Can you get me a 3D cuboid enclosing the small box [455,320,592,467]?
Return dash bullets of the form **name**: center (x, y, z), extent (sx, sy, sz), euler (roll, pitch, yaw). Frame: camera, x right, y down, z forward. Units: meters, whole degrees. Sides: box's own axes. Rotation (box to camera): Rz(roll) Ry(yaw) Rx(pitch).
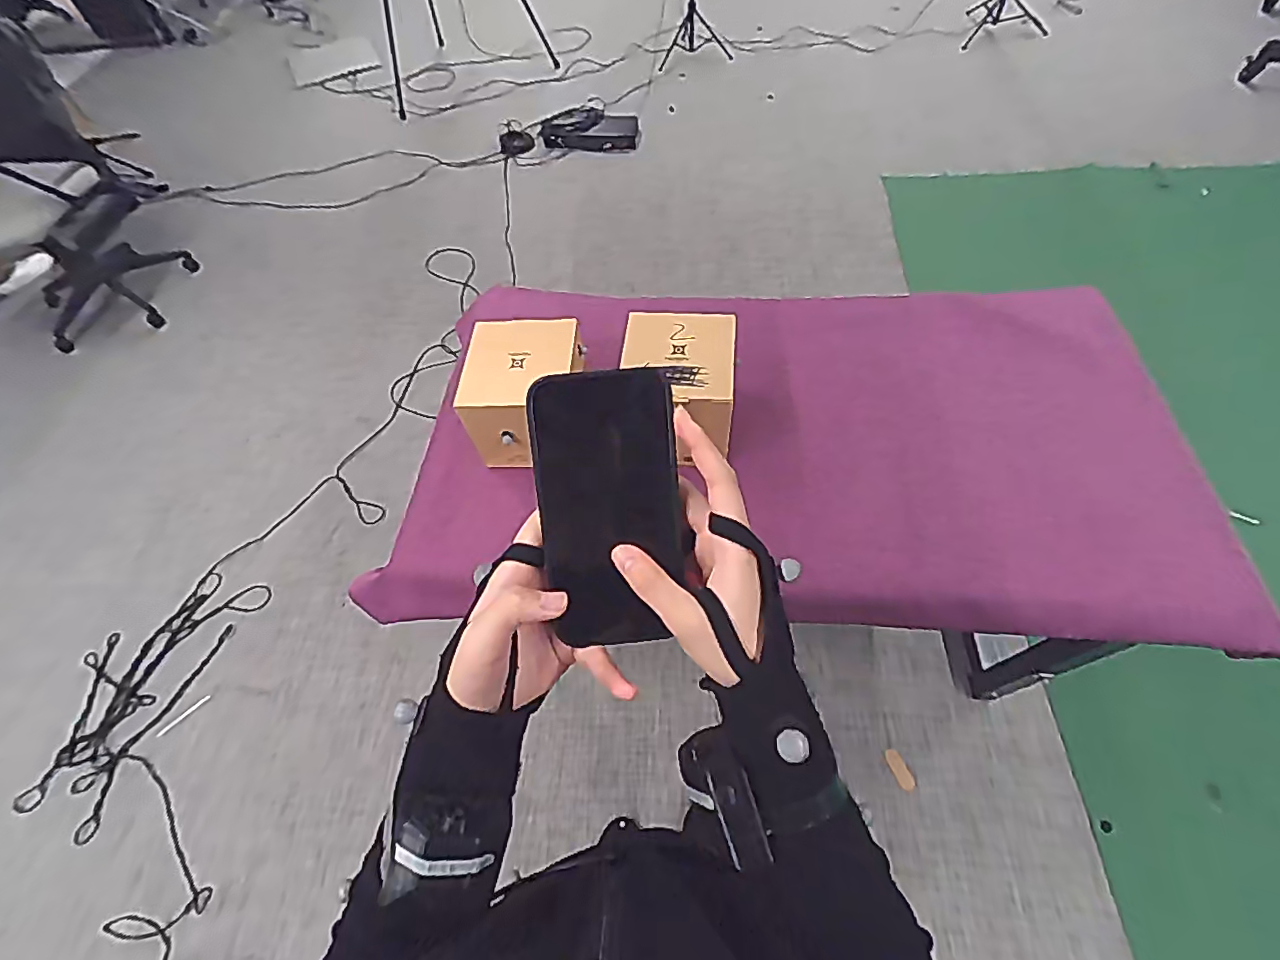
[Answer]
- **small box**: center (-0.175, -0.132, 0.874), extent (0.168, 0.176, 0.179), euler (-1, 57, 5)
